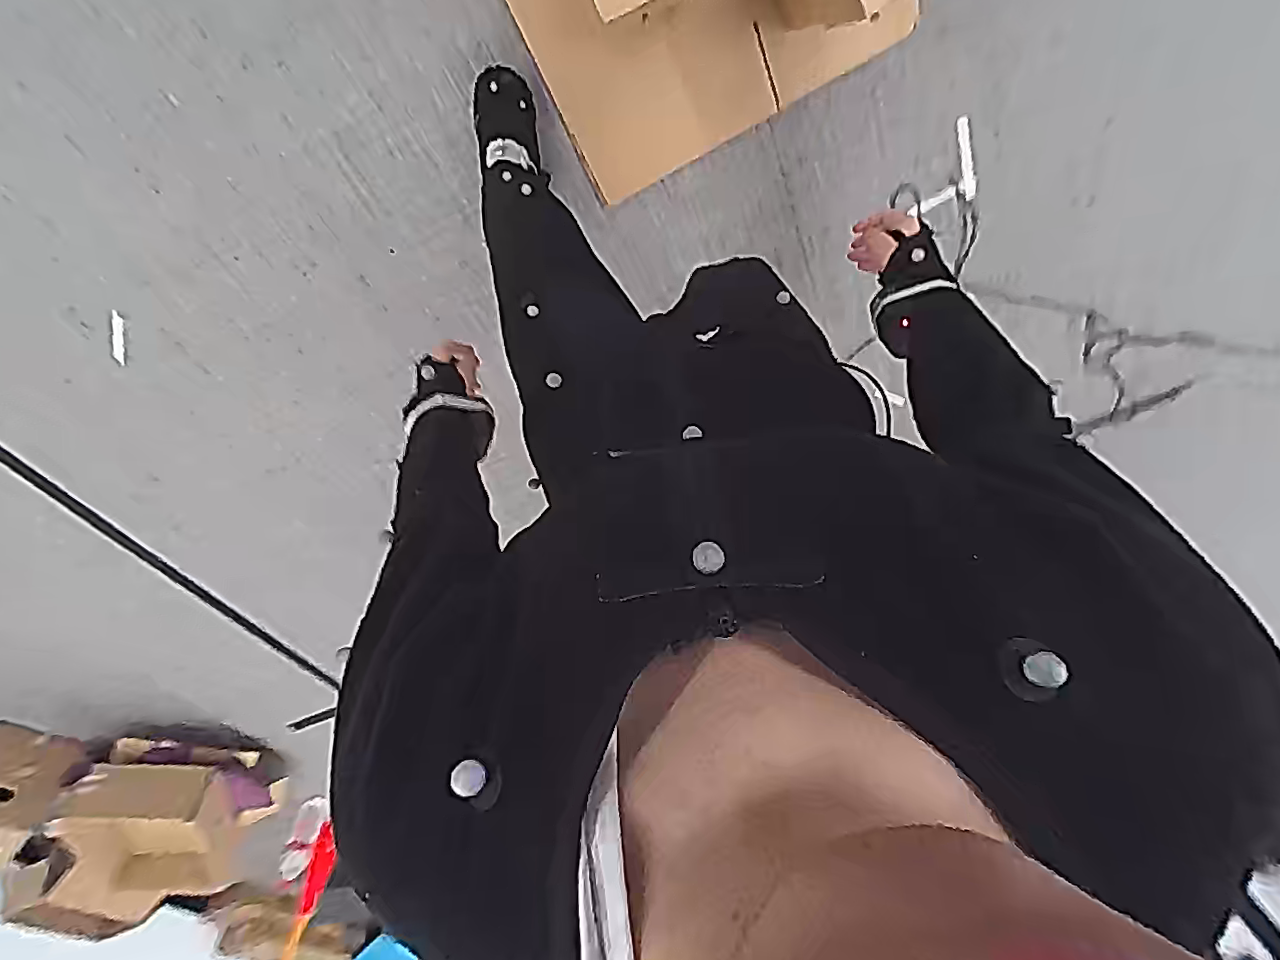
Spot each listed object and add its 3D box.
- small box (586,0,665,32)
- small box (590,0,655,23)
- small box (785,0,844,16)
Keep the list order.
[{"bbox_3d":[-0.021,-0.871,0.883,0.179,0.176,0.168,-21,126,10],"label":"small box"},{"bbox_3d":[-0.008,-0.775,0.750,0.179,0.176,0.168,-20,125,10],"label":"small box"},{"bbox_3d":[0.321,-0.913,0.894,0.168,0.176,0.179,-28,124,13],"label":"small box"}]
